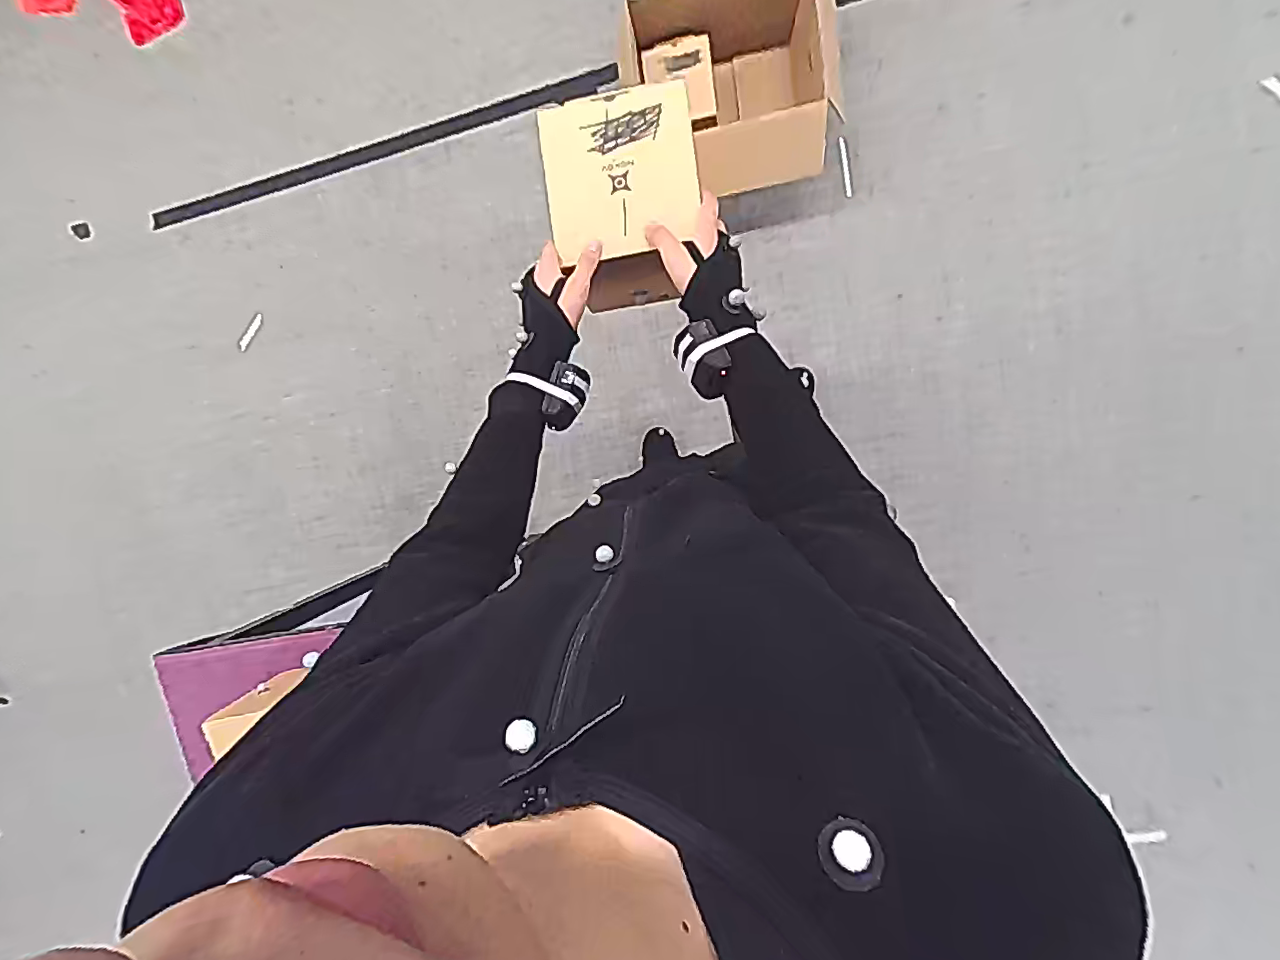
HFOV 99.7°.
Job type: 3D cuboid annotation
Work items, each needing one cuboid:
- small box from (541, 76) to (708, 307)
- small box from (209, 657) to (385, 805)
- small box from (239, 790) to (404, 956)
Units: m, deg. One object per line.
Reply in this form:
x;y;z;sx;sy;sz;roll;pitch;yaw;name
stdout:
-0.009;-0.333;0.660;0.168;0.176;0.179;-8;90;8;small box
-0.595;0.436;0.958;0.179;0.176;0.168;-14;96;10;small box
-0.564;0.705;0.989;0.179;0.176;0.168;-20;94;11;small box
